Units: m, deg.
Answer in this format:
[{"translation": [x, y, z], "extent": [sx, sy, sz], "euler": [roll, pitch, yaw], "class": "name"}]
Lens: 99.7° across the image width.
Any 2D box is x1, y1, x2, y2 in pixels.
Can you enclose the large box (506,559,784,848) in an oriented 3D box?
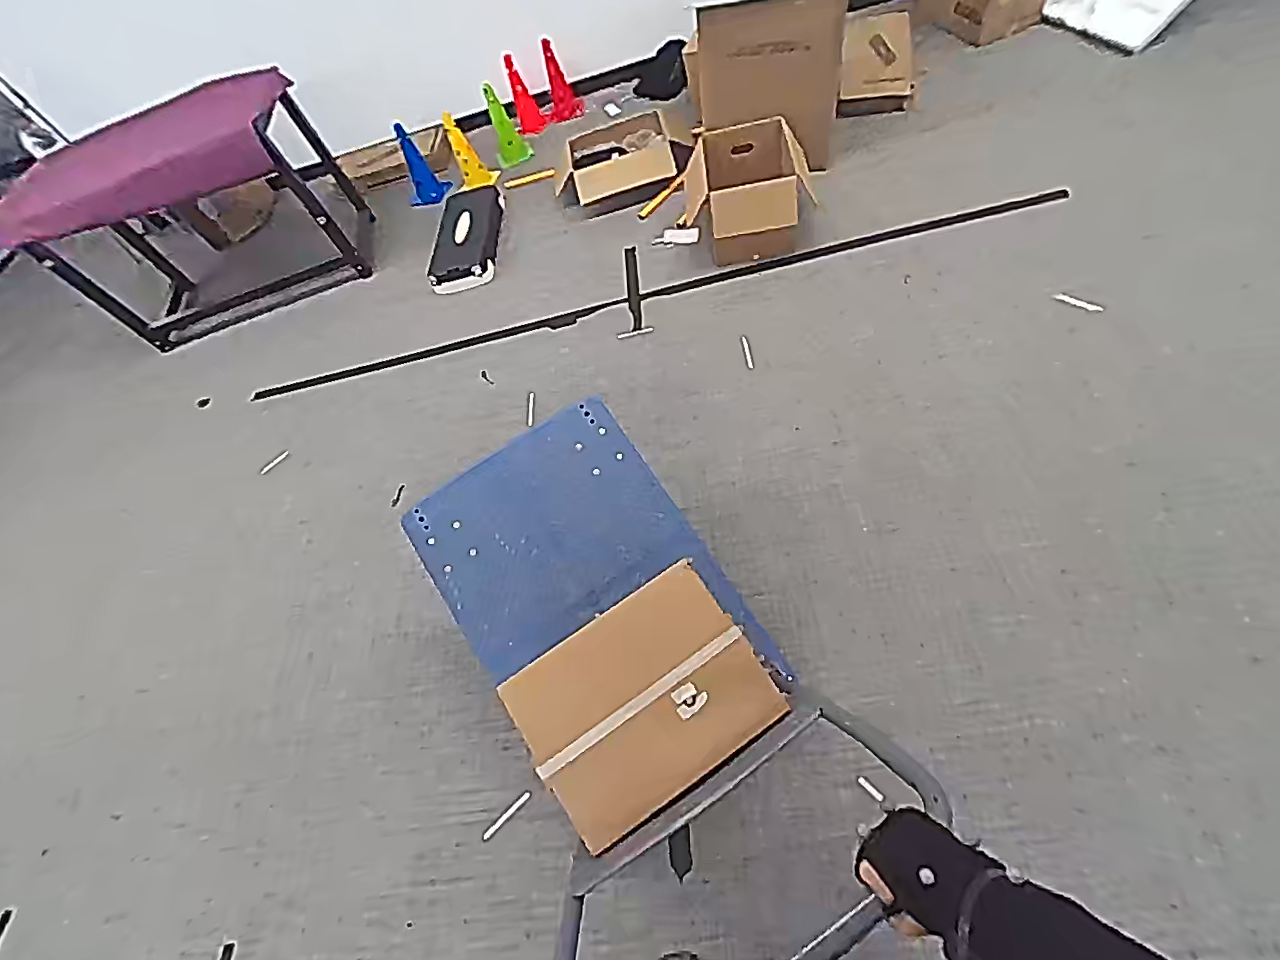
[{"translation": [0.008, 0.417, 1.090], "extent": [0.408, 0.320, 0.320], "euler": [-34, 78, -9], "class": "large box"}]
